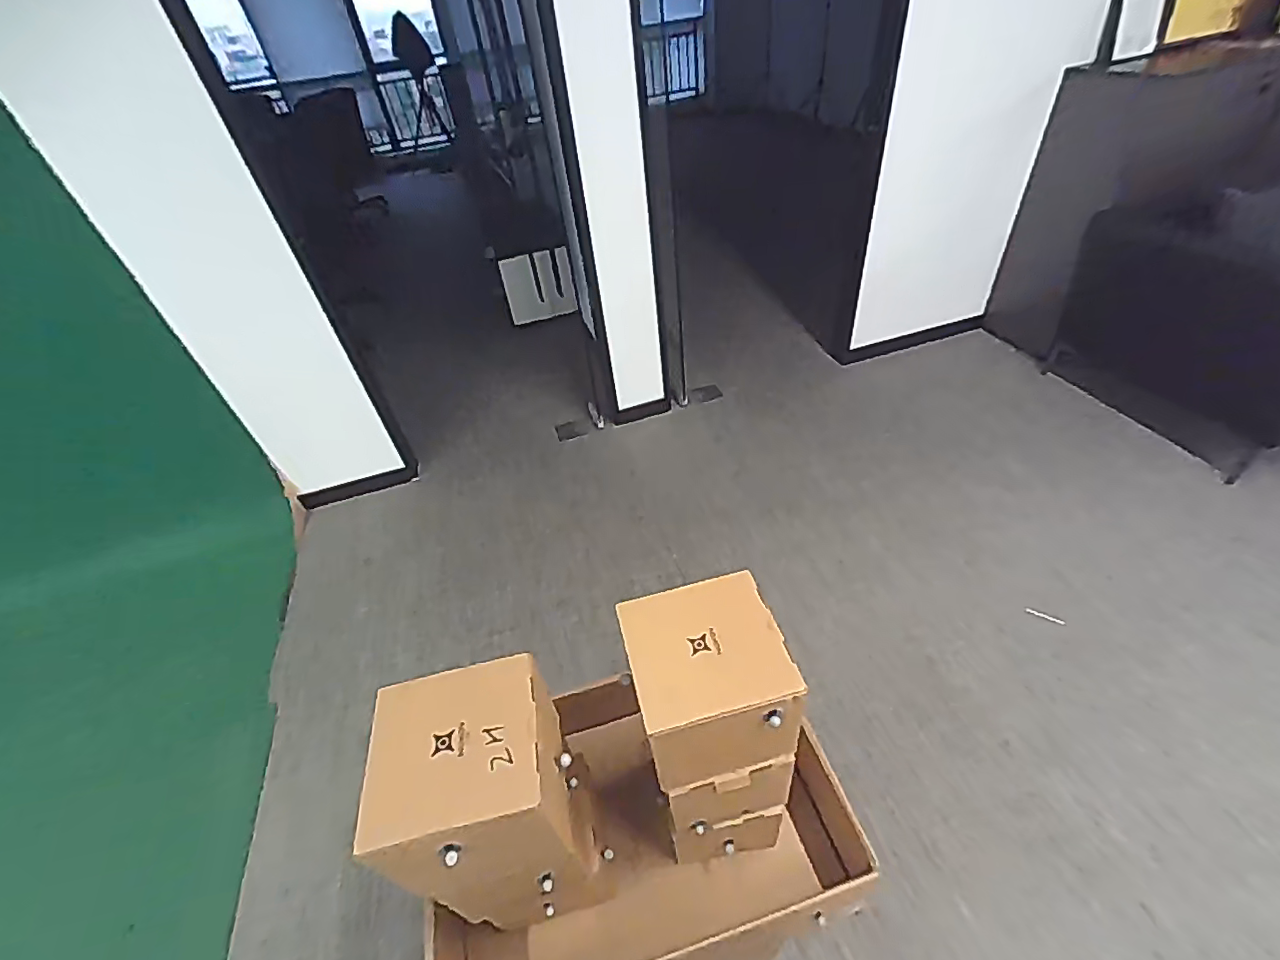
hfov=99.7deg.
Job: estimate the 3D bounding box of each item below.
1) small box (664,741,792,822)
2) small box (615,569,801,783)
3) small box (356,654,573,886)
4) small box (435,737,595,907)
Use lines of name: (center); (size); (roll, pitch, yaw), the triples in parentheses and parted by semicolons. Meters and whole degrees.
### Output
small box: (0.105, 0.362, 0.775); (0.168, 0.176, 0.179); (-14, 42, -4)
small box: (0.080, 0.243, 0.667); (0.179, 0.176, 0.168); (-14, 42, -5)
small box: (-0.185, 0.332, 0.617); (0.179, 0.176, 0.168); (-12, 43, -4)
small box: (-0.166, 0.447, 0.733); (0.168, 0.176, 0.179); (-15, 42, -6)
